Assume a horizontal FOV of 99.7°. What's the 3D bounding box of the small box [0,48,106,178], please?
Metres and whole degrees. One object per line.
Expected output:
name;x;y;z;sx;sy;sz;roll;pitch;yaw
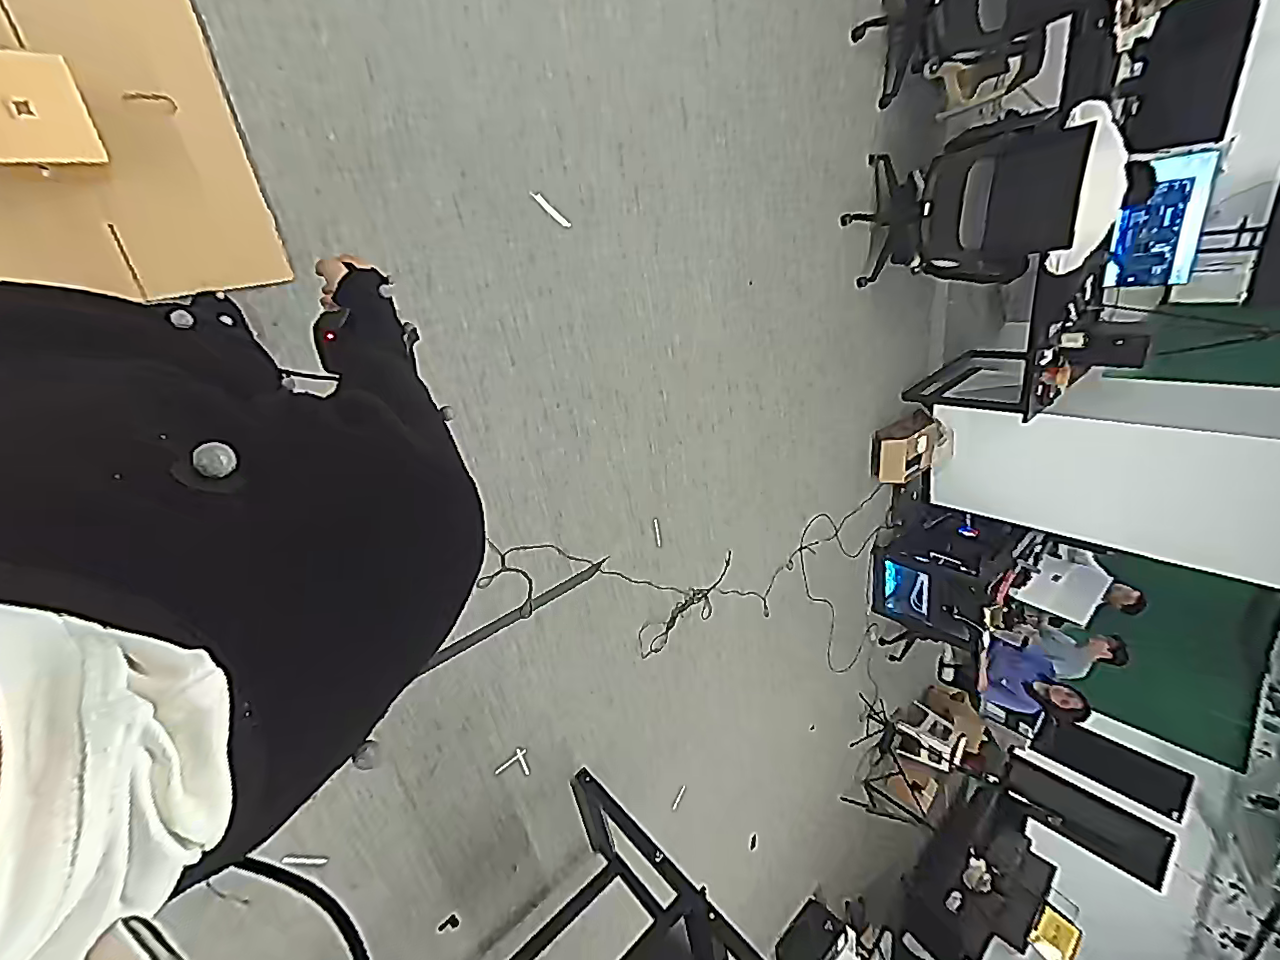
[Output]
small box;-1.105;-0.647;0.965;0.179;0.176;0.168;-25;118;-34
